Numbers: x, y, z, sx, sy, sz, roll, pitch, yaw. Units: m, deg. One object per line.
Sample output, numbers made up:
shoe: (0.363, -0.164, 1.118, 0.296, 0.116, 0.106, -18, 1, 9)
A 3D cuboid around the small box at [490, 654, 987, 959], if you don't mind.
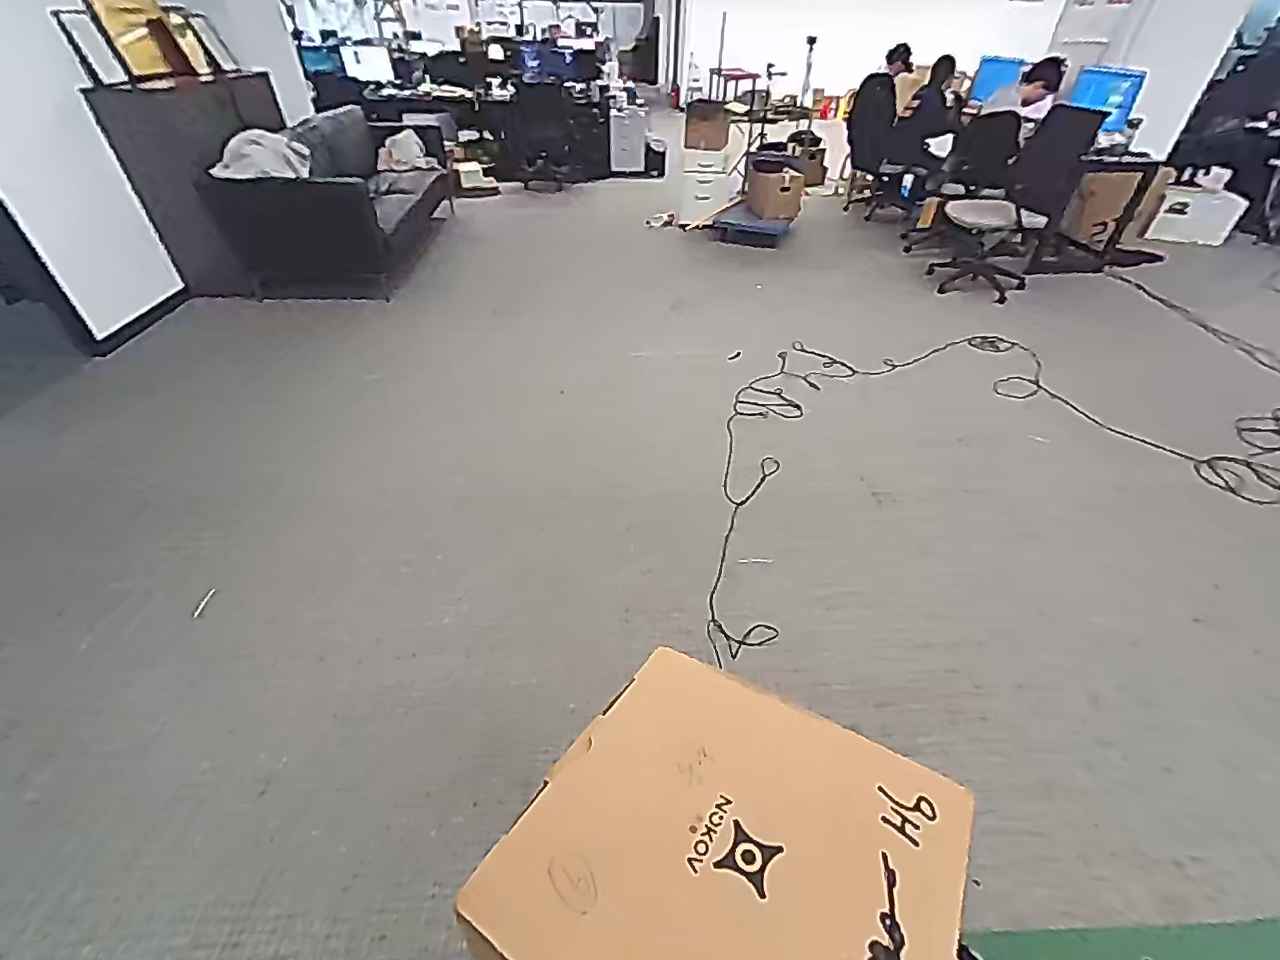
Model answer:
small box: (0.053, 0.234, 0.282, 0.179, 0.176, 0.168, 16, 35, 30)
